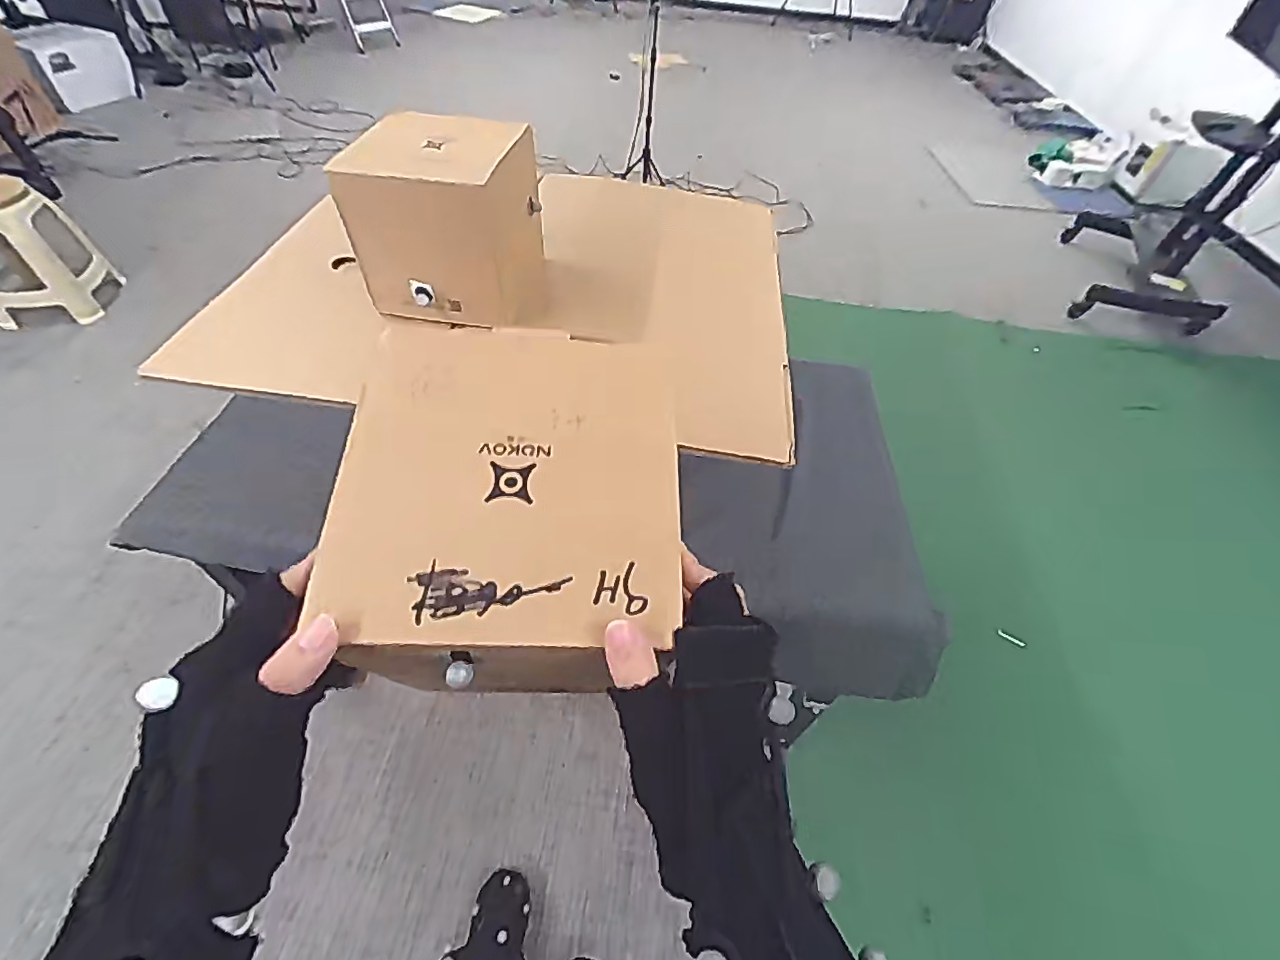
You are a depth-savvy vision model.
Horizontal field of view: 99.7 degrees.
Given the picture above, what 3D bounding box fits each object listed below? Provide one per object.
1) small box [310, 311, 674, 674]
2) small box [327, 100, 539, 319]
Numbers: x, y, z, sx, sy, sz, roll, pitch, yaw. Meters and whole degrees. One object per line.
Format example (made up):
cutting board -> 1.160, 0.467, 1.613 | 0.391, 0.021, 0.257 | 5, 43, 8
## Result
small box -> -0.071, 0.019, 0.353 | 0.168, 0.176, 0.179 | 3, 62, -4
small box -> -0.221, -0.316, 0.637 | 0.168, 0.176, 0.179 | 6, 52, 3
